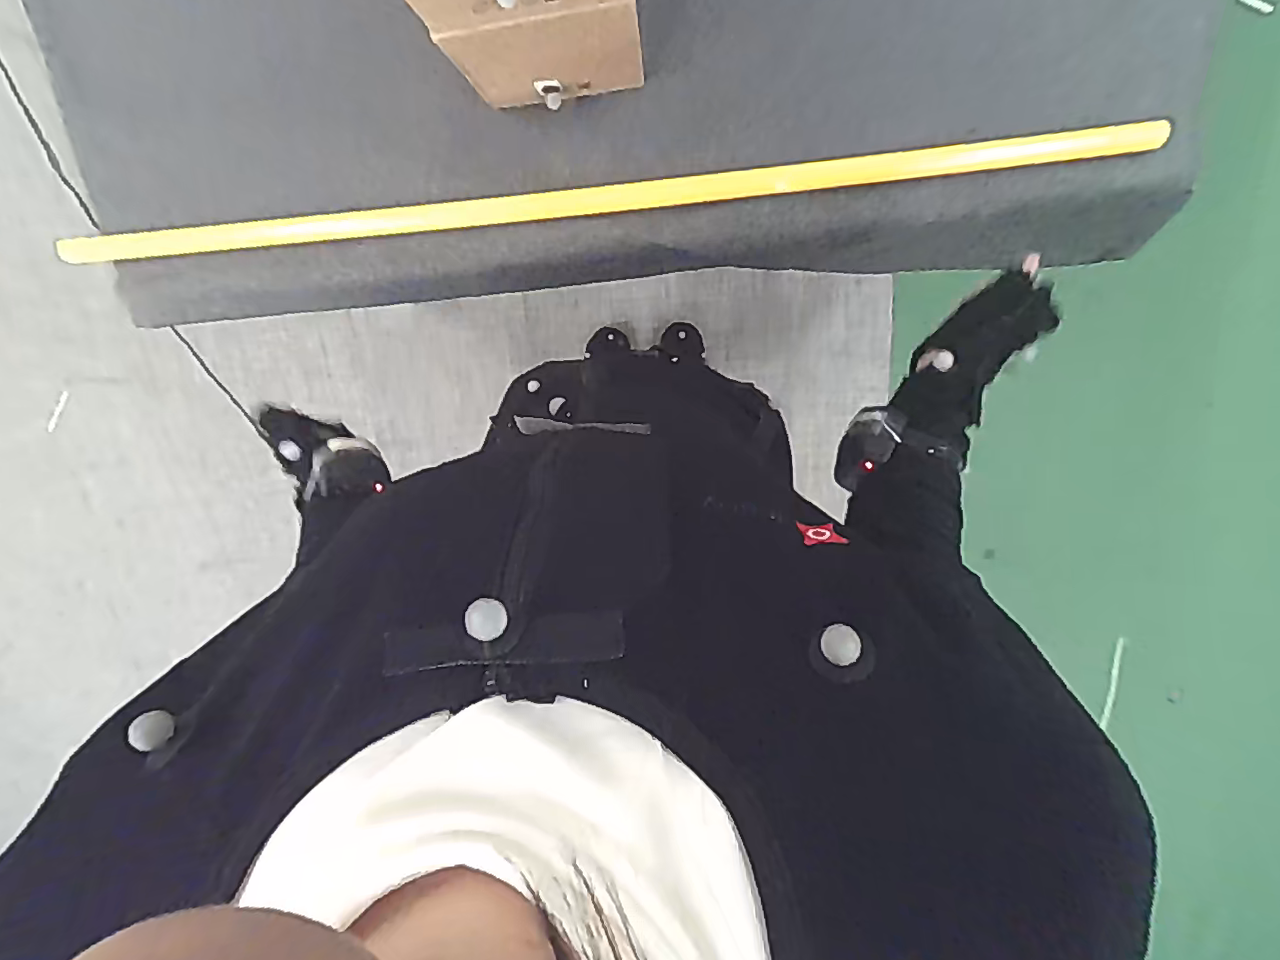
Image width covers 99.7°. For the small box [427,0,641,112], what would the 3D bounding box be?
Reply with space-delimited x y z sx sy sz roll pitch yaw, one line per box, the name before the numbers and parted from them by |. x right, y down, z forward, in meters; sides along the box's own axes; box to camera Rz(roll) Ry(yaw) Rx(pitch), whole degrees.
small box | -0.094 -0.470 0.484 0.168 0.176 0.179 -6 107 6

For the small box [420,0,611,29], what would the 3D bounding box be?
small box | -0.104 -0.426 0.326 0.168 0.176 0.179 -5 106 6
